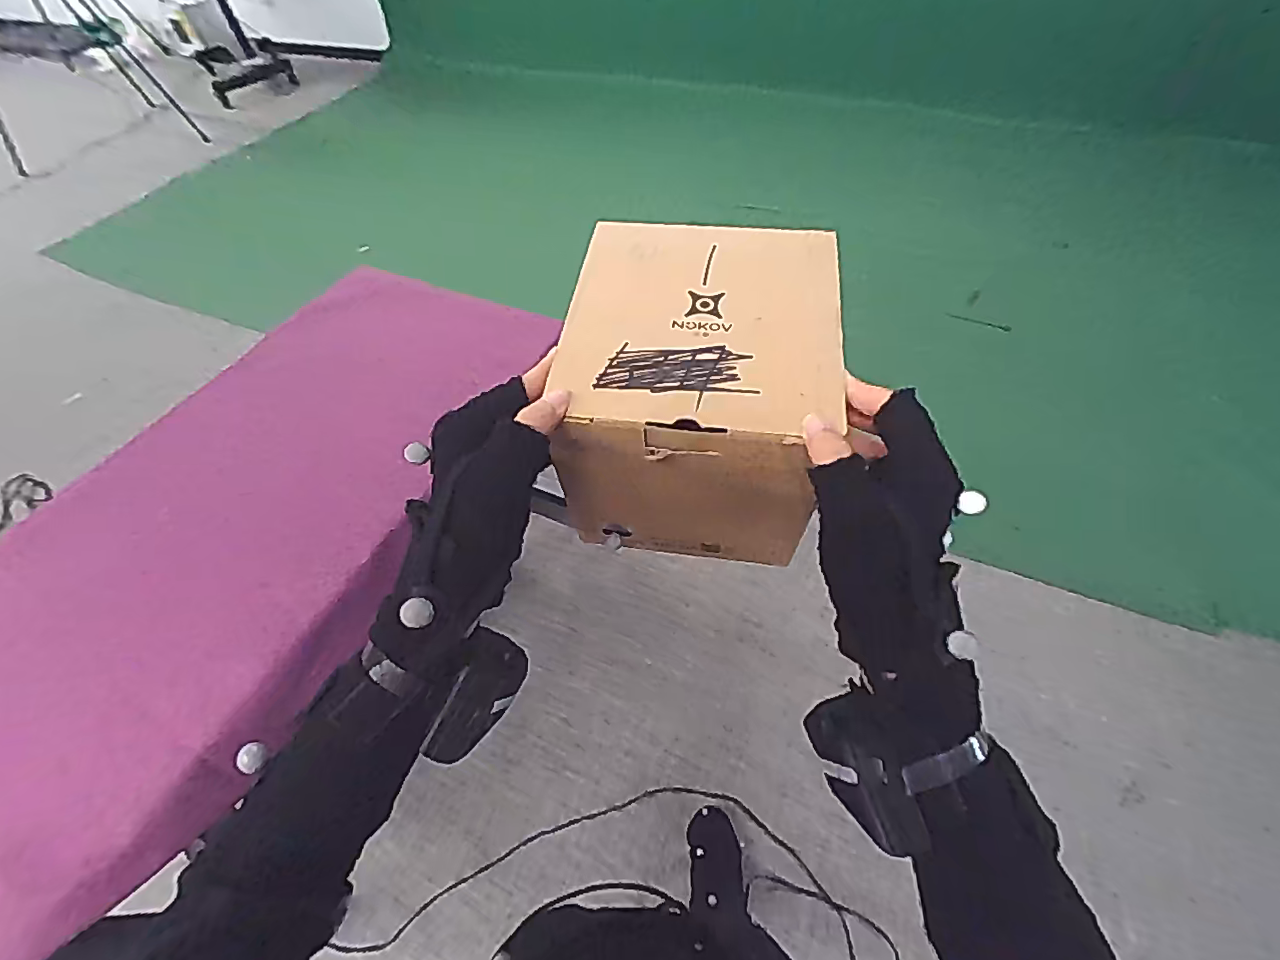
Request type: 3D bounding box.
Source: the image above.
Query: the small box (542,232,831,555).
[{"bbox_3d":[0.041,-0.058,0.408,0.168,0.176,0.179,6,58,7],"label":"small box"}]
